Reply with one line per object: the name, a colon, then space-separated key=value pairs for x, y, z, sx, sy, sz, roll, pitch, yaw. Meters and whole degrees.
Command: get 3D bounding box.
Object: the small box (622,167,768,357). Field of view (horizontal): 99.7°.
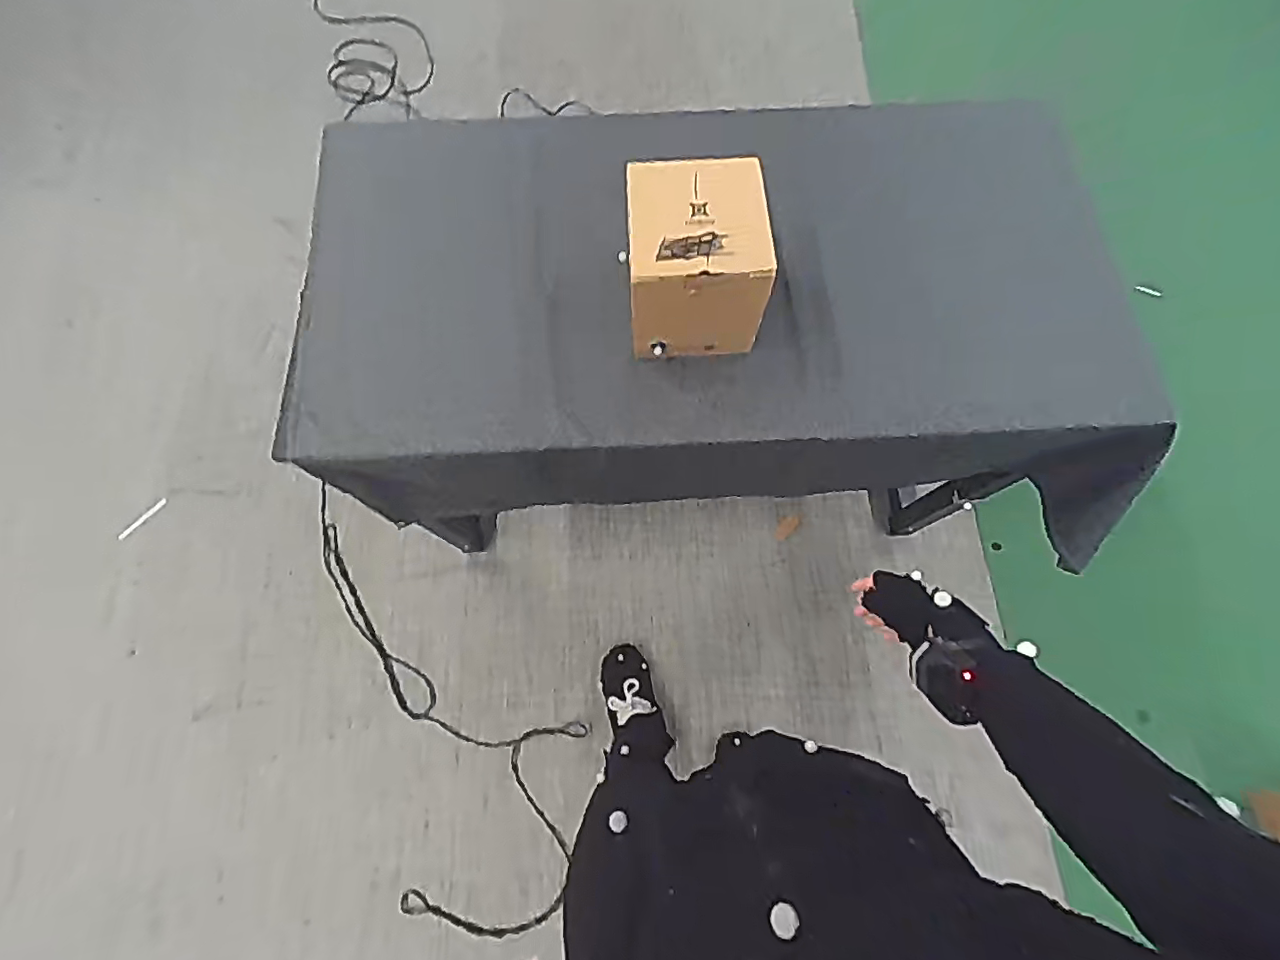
small box: x=0.065 y=-0.277 z=0.721 sx=0.168 sy=0.176 sz=0.179 roll=-3 pitch=70 yaw=0
